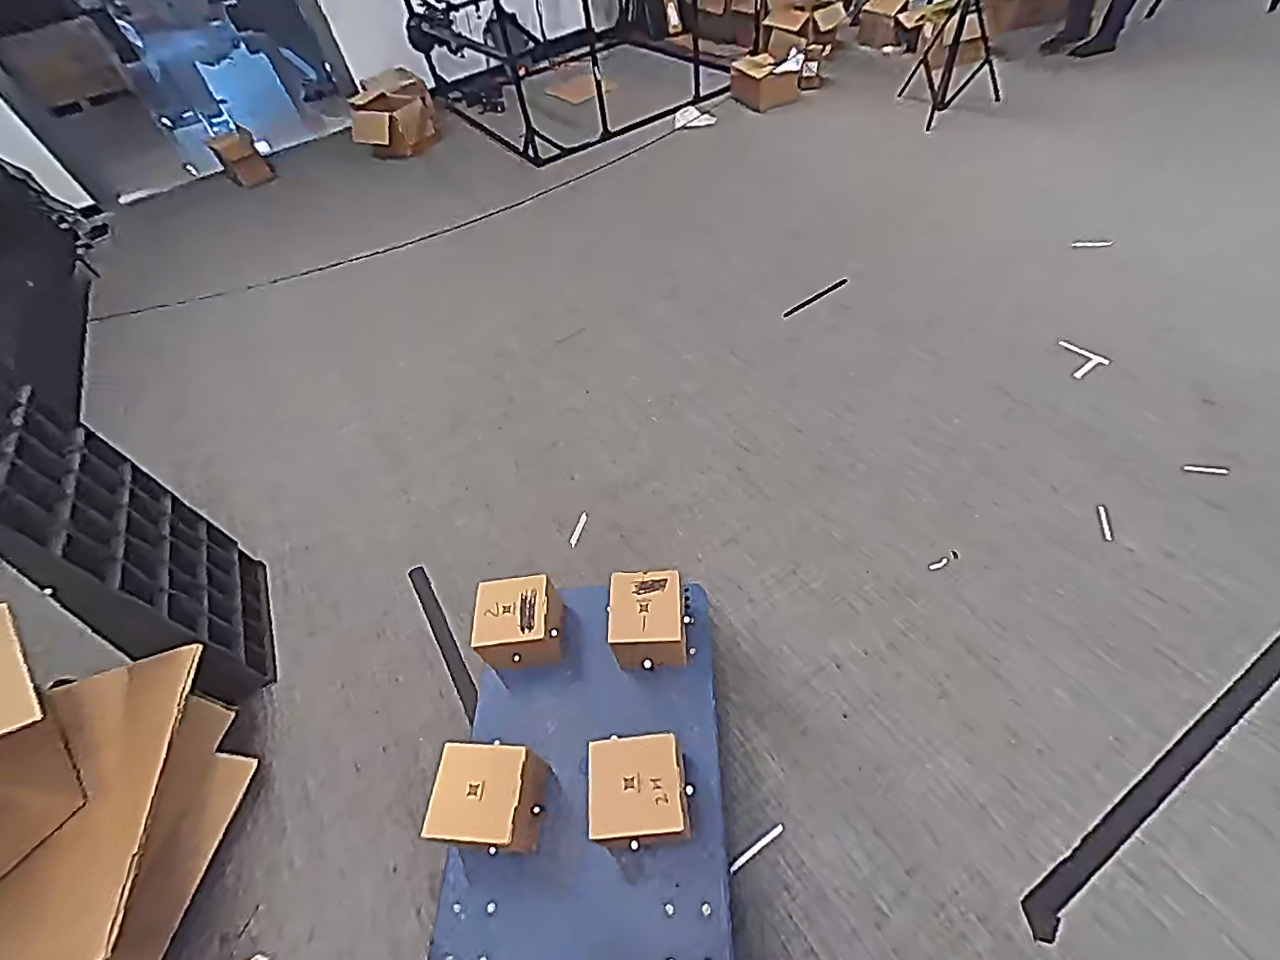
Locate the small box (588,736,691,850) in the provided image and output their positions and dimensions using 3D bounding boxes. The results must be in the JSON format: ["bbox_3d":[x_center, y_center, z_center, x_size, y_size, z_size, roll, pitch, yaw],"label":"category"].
[{"bbox_3d":[0.002,0.624,1.071,0.179,0.176,0.168,-8,51,4],"label":"small box"}]

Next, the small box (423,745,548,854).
[{"bbox_3d":[-0.304,0.654,1.104,0.179,0.176,0.168,-1,51,7],"label":"small box"}]

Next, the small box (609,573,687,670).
[{"bbox_3d":[0.025,0.340,1.295,0.168,0.176,0.179,-4,52,7],"label":"small box"}]
